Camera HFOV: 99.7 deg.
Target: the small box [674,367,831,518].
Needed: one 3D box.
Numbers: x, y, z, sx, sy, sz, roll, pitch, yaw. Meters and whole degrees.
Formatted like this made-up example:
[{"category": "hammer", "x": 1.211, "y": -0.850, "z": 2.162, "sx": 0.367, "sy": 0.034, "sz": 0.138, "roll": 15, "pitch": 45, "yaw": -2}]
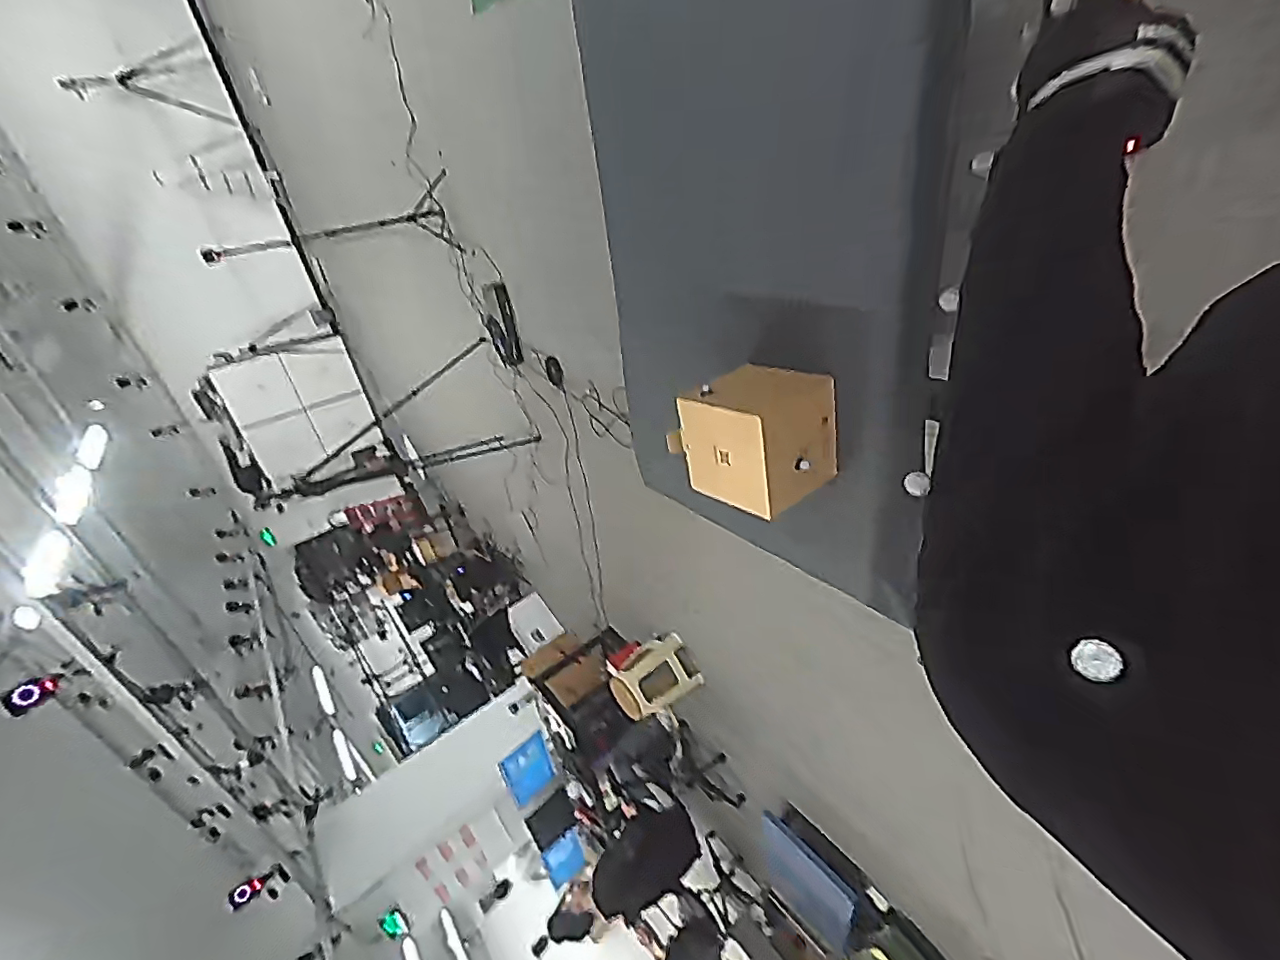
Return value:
[{"category": "small box", "x": 0.183, "y": -0.069, "z": 0.851, "sx": 0.179, "sy": 0.176, "sz": 0.168, "roll": 23, "pitch": 133, "yaw": 49}]
